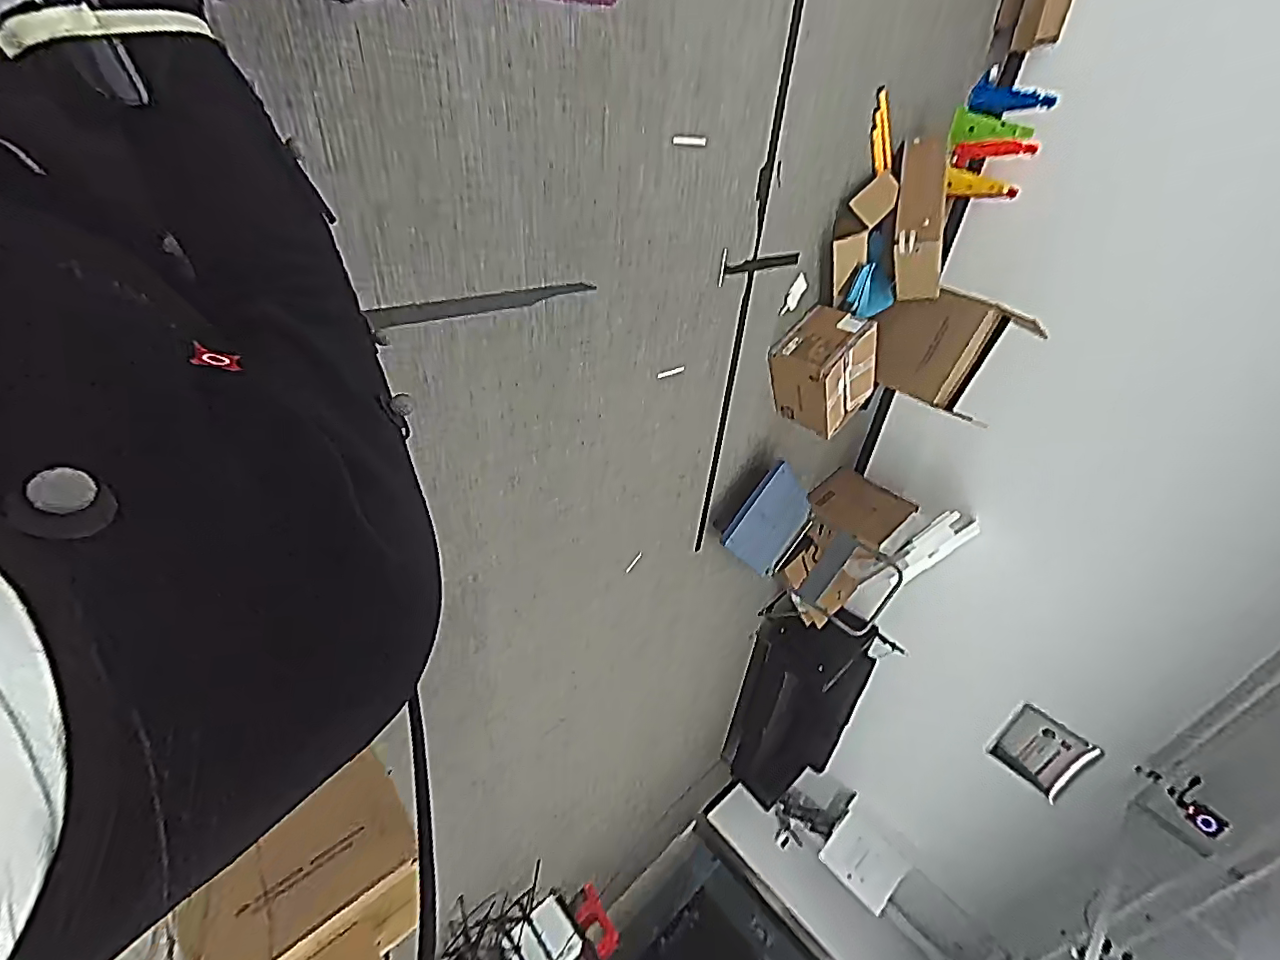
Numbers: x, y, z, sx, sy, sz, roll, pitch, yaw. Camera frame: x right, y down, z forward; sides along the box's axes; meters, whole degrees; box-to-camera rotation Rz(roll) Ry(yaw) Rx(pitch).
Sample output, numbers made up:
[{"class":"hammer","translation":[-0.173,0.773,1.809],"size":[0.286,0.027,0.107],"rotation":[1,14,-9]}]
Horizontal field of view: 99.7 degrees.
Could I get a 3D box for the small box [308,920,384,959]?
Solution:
[{"class":"small box","translation":[-0.737,1.270,1.358],"size":[0.179,0.176,0.168],"rotation":[-22,133,-37]}]
